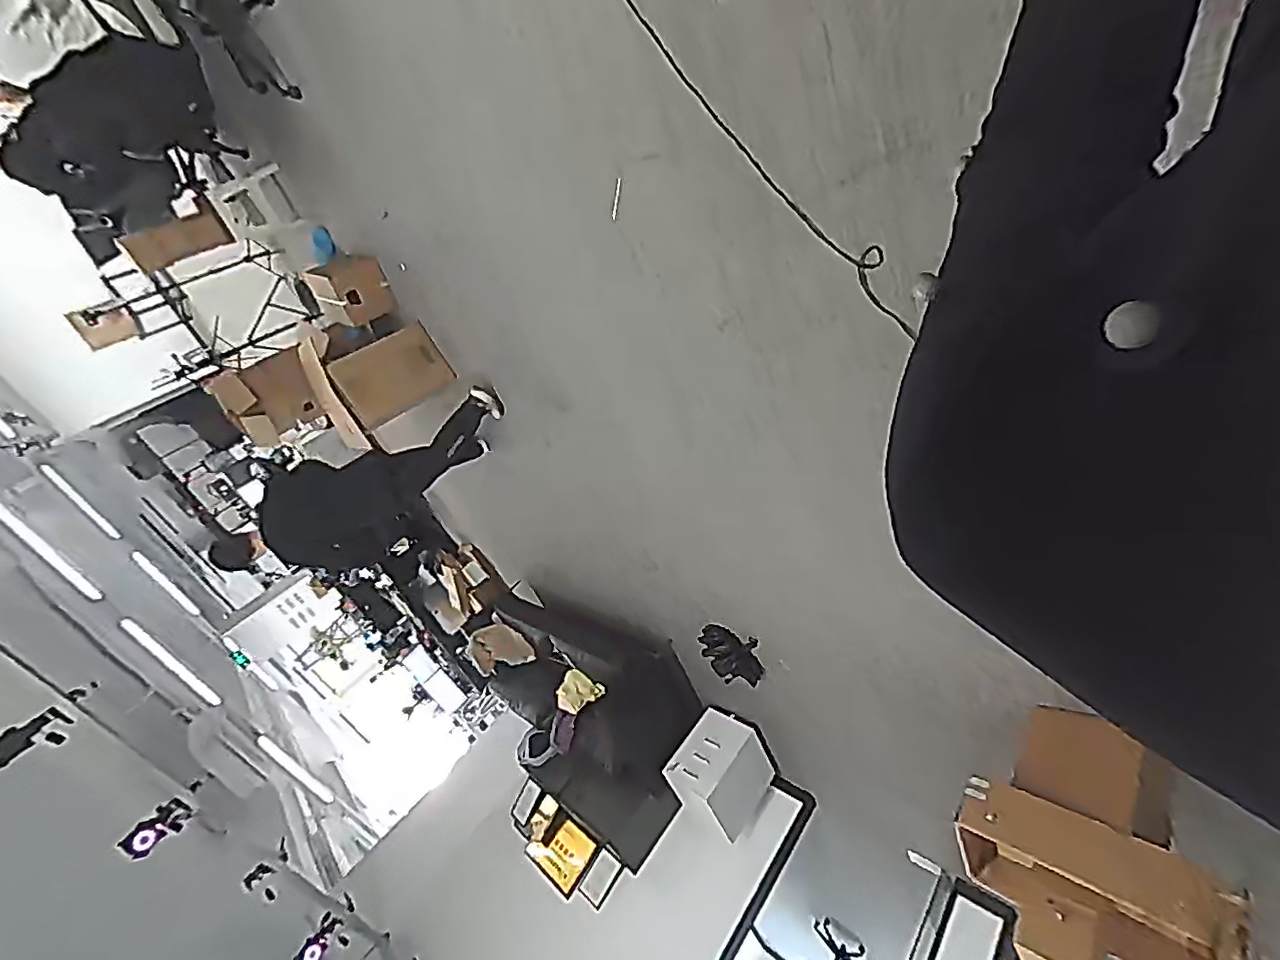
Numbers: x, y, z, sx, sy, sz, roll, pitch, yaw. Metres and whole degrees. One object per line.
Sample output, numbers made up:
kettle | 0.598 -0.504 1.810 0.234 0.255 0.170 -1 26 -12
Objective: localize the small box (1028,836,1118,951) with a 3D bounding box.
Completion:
small box | 1.262 1.192 1.570 0.168 0.176 0.179 -4 122 50

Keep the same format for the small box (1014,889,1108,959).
small box | 1.160 1.289 1.485 0.168 0.176 0.179 -4 122 50
